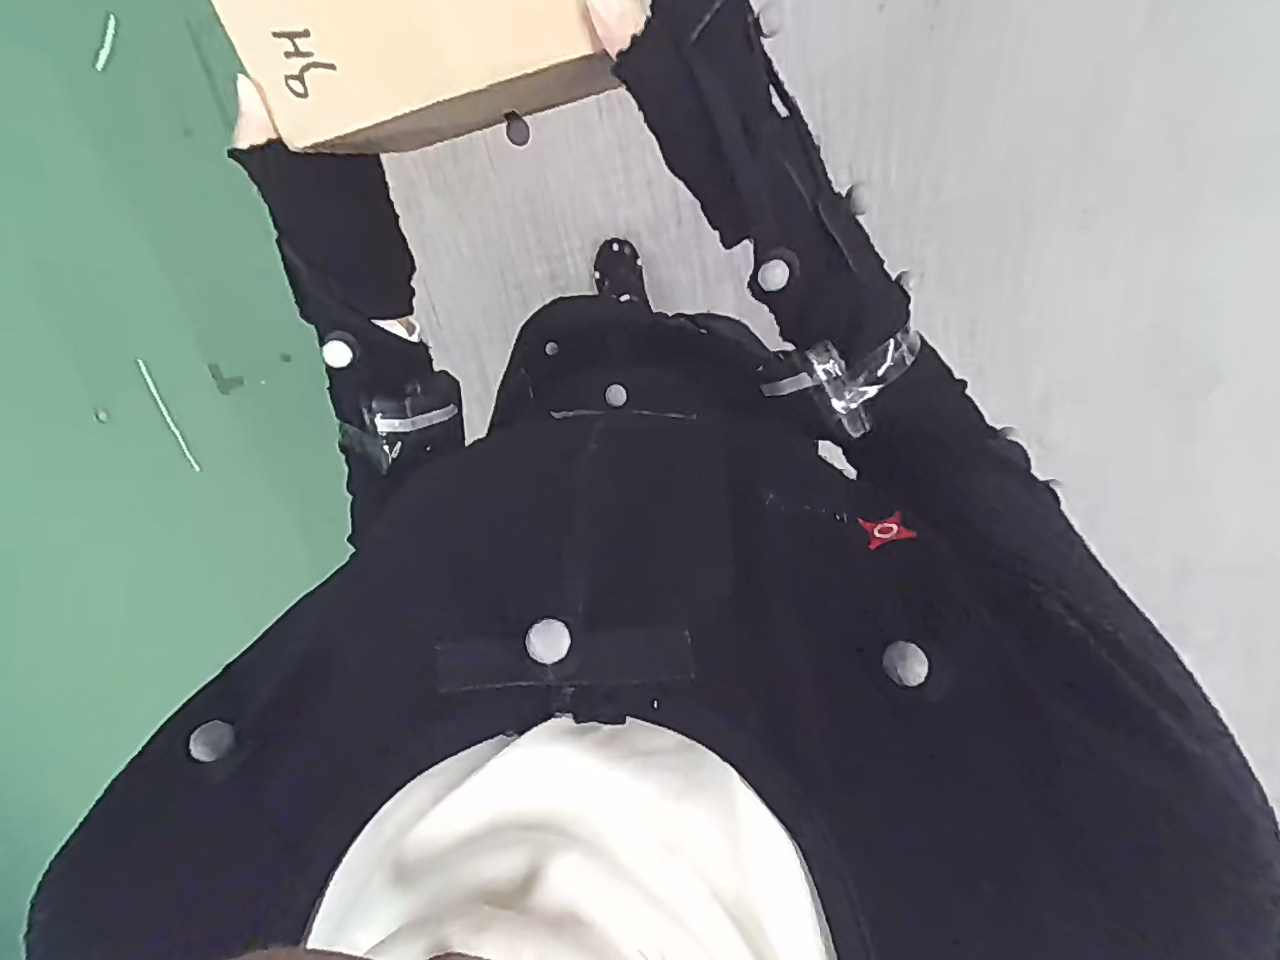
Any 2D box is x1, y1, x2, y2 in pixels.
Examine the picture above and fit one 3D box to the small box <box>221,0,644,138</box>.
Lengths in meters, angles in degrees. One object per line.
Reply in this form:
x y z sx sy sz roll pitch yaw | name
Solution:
-0.104 -0.289 0.272 0.179 0.176 0.168 -13 120 5 | small box
